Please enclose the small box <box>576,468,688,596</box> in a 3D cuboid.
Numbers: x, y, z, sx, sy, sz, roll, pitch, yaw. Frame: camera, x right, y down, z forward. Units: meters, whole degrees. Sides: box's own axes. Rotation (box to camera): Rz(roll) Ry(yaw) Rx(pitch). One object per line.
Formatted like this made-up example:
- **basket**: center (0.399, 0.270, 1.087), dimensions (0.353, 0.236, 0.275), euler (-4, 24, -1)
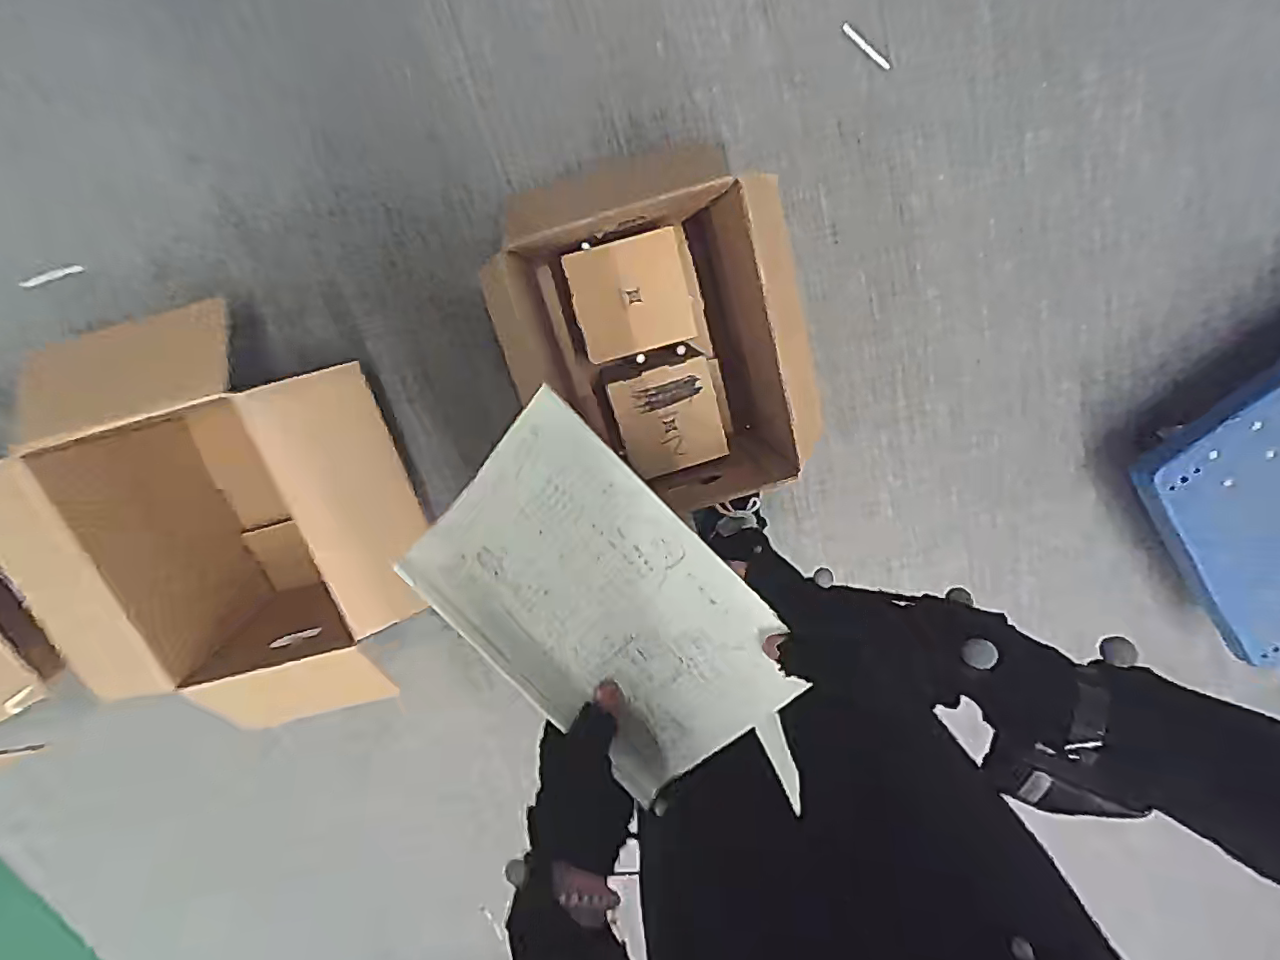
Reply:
- **small box**: center (-0.018, 0.098, 1.060), dimensions (0.179, 0.176, 0.168), euler (15, 118, 11)
